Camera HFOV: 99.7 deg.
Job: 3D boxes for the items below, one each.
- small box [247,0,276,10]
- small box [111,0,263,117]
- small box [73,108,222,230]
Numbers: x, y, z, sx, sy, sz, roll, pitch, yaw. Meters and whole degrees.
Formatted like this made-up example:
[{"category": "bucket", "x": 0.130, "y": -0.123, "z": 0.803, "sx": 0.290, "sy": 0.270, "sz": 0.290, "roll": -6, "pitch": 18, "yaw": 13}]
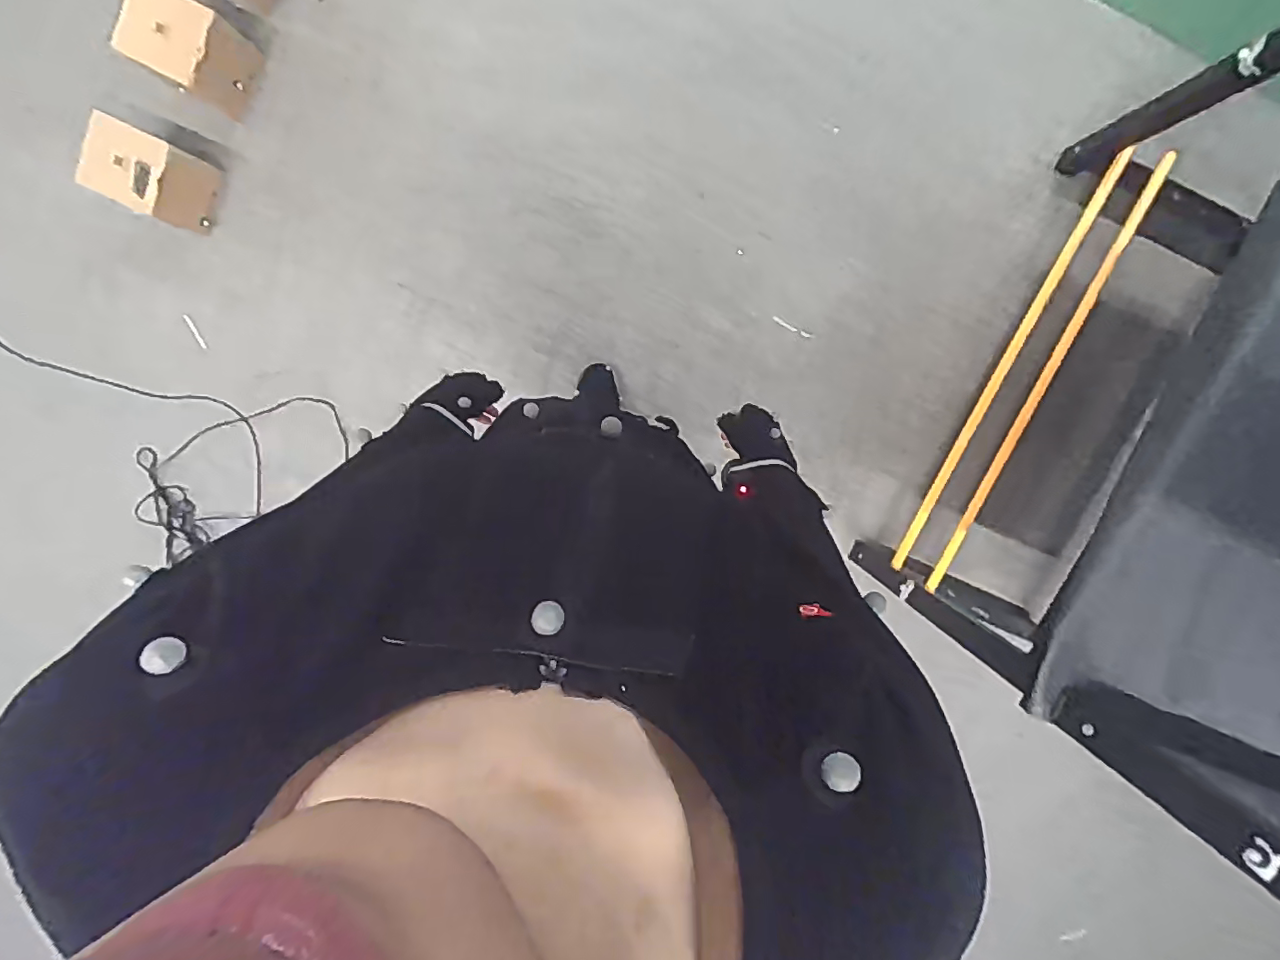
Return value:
[{"category": "small box", "x": -0.907, "y": -1.201, "z": 1.183, "sx": 0.179, "sy": 0.176, "sz": 0.168, "roll": 33, "pitch": 98, "yaw": -7}, {"category": "small box", "x": -1.010, "y": -0.969, "z": 1.220, "sx": 0.179, "sy": 0.176, "sz": 0.168, "roll": 25, "pitch": 98, "yaw": -5}, {"category": "small box", "x": -1.132, "y": -0.708, "z": 1.259, "sx": 0.179, "sy": 0.176, "sz": 0.168, "roll": 25, "pitch": 98, "yaw": -4}]
